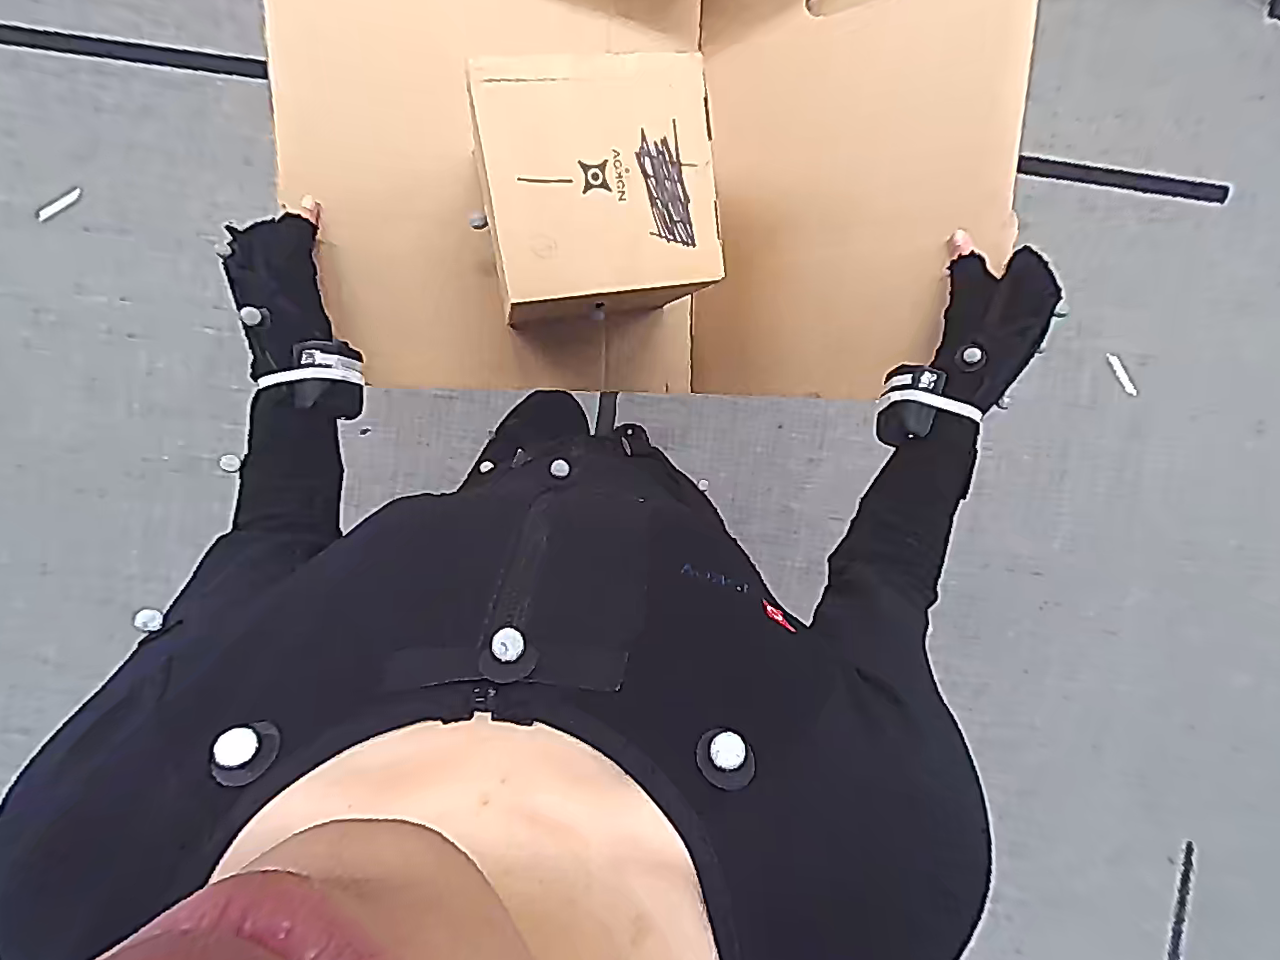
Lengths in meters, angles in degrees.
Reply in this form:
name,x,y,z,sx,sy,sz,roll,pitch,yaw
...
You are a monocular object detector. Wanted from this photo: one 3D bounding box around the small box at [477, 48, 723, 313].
name,x,y,z,sx,sy,sz,roll,pitch,yaw
small box,-0.043,-0.251,0.490,0.179,0.176,0.168,-11,103,-12
